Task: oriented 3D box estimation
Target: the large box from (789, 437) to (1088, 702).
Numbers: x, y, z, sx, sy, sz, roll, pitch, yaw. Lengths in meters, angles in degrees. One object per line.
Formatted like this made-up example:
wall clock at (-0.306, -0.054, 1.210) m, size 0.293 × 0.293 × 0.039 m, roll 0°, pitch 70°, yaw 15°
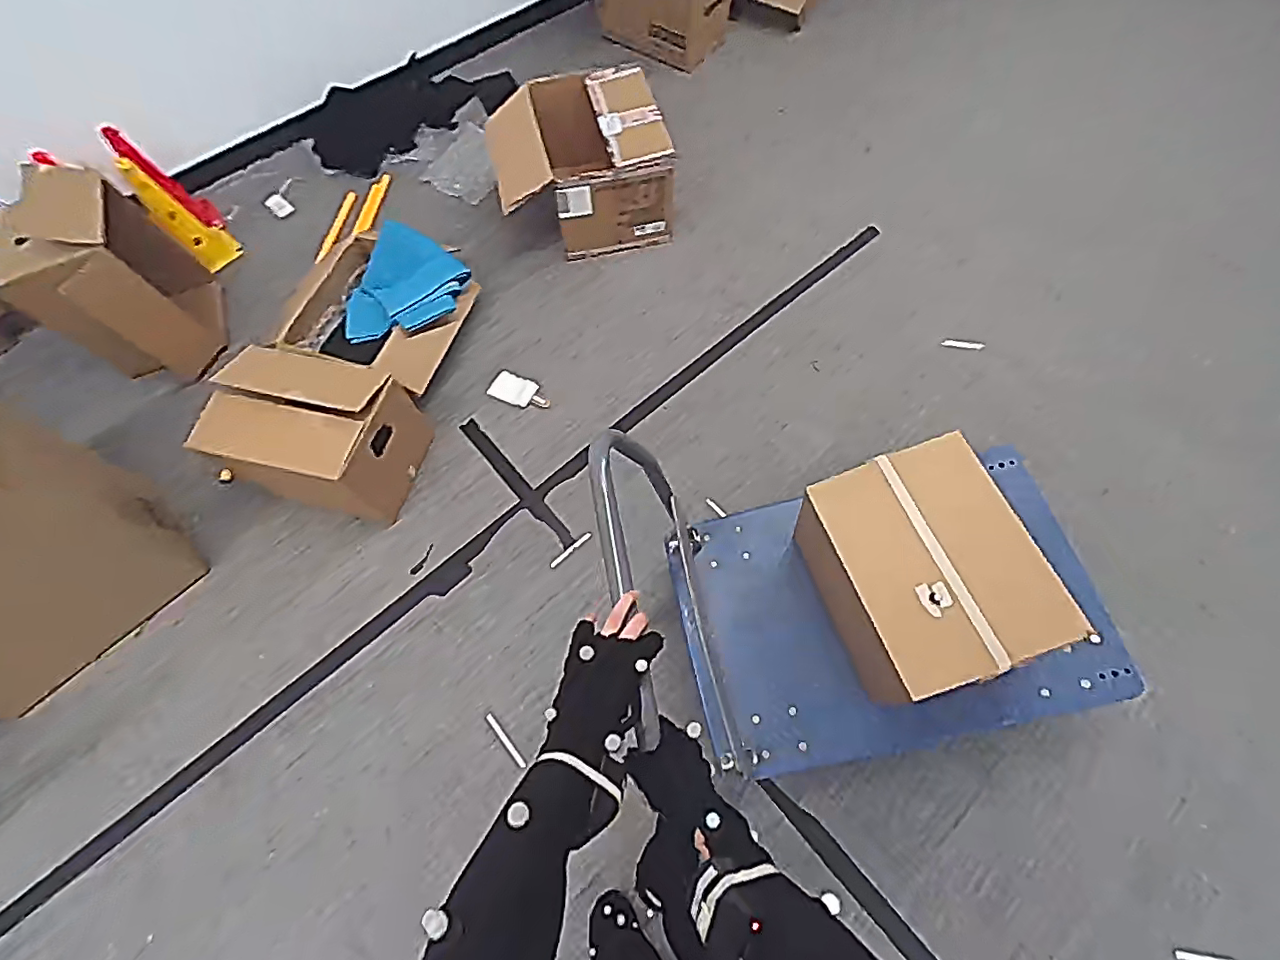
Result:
large box at (0.541, 0.192, 1.091) m, size 0.320 × 0.320 × 0.408 m, roll -22°, pitch 66°, yaw 1°
